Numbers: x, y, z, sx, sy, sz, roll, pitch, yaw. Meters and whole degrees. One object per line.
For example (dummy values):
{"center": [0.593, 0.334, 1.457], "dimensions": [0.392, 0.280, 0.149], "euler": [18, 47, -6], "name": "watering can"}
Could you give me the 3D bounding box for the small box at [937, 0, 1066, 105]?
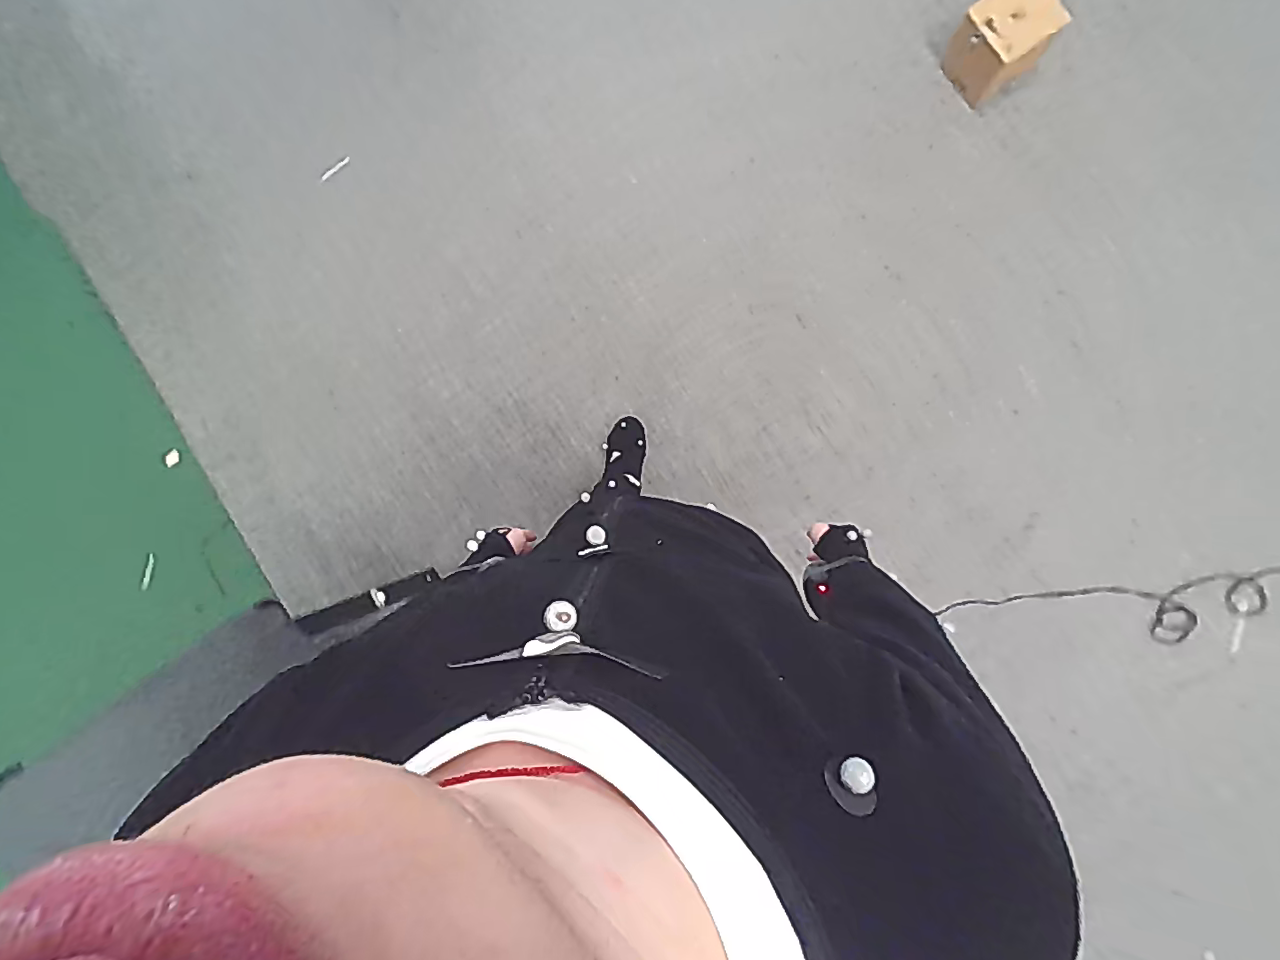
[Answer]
{"center": [0.895, -1.105, 1.357], "dimensions": [0.179, 0.176, 0.168], "euler": [-32, 87, 5], "name": "small box"}
